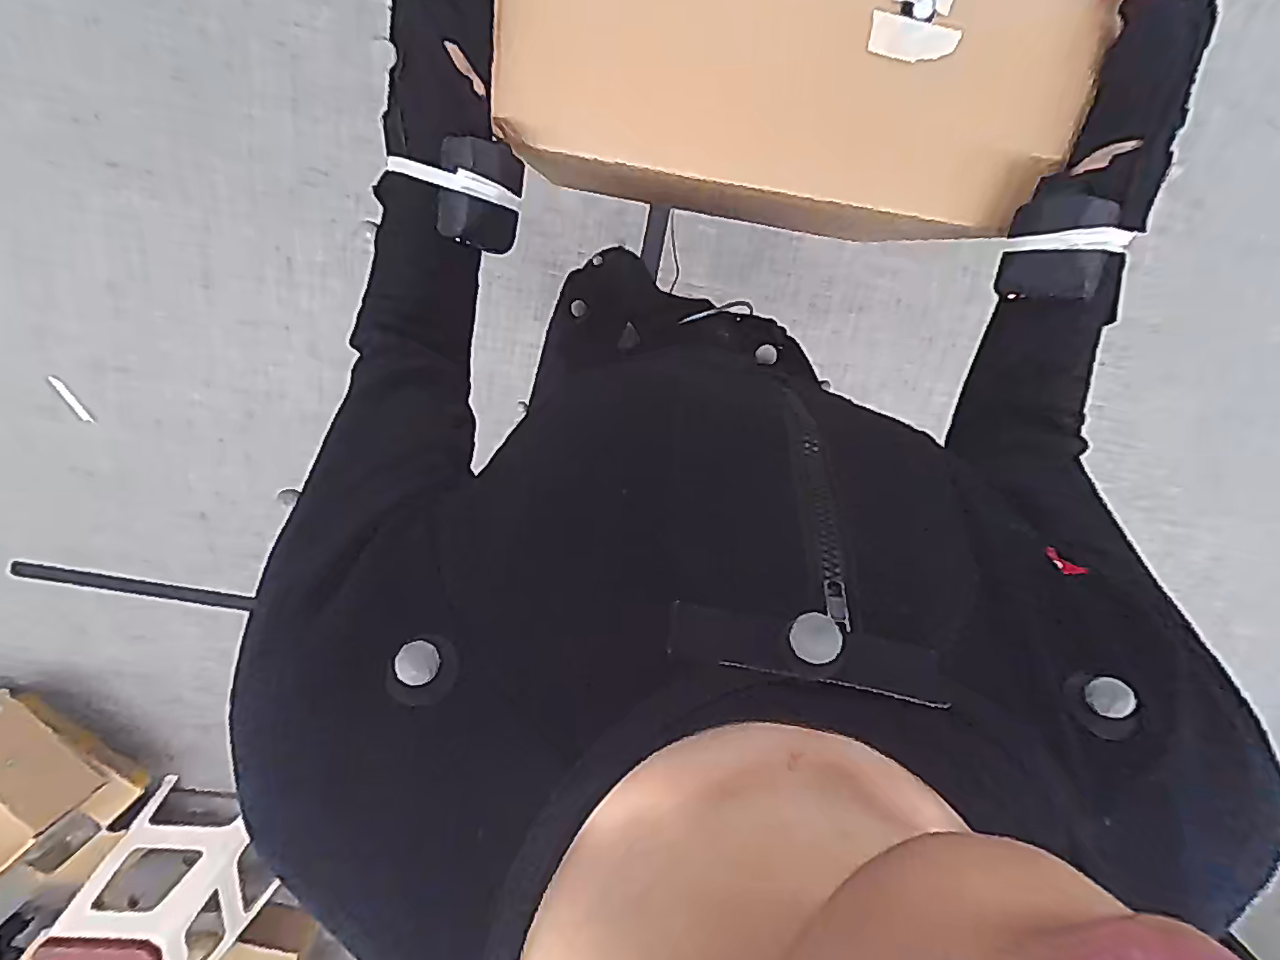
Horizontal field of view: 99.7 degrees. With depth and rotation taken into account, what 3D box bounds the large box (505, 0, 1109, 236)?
[{"bbox_3d":[0.112,-0.413,0.478,0.408,0.320,0.320,7,114,-6],"label":"large box"}]
